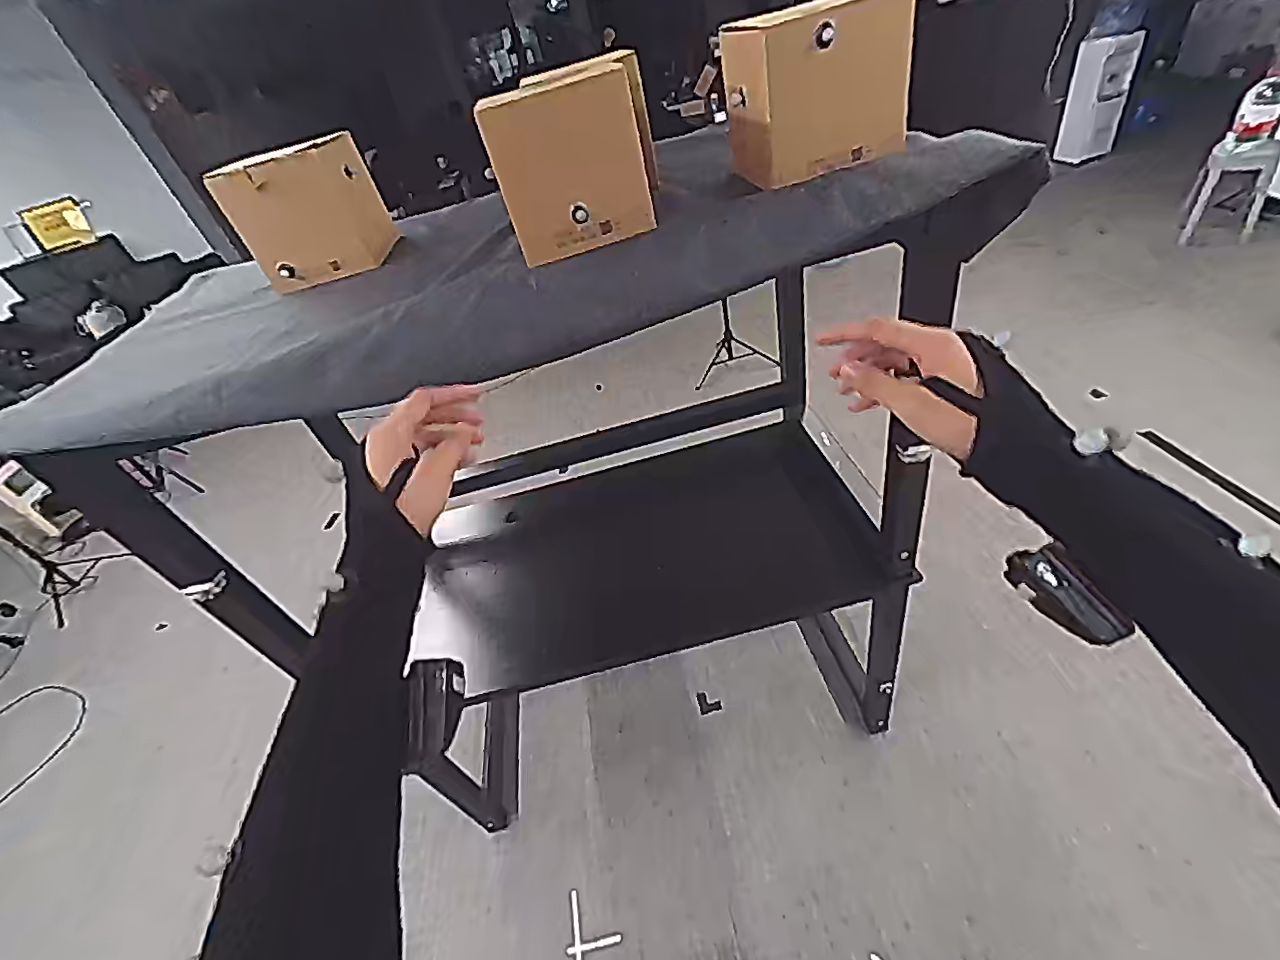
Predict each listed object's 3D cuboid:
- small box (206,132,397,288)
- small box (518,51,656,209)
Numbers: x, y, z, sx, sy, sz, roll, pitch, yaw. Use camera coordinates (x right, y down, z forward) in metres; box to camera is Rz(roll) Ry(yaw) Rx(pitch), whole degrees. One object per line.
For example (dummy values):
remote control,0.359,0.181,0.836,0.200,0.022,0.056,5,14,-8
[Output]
small box,-0.510,-0.419,0.850,0.168,0.176,0.179,-15,39,1
small box,-0.079,-0.541,0.843,0.168,0.176,0.179,-15,39,3
